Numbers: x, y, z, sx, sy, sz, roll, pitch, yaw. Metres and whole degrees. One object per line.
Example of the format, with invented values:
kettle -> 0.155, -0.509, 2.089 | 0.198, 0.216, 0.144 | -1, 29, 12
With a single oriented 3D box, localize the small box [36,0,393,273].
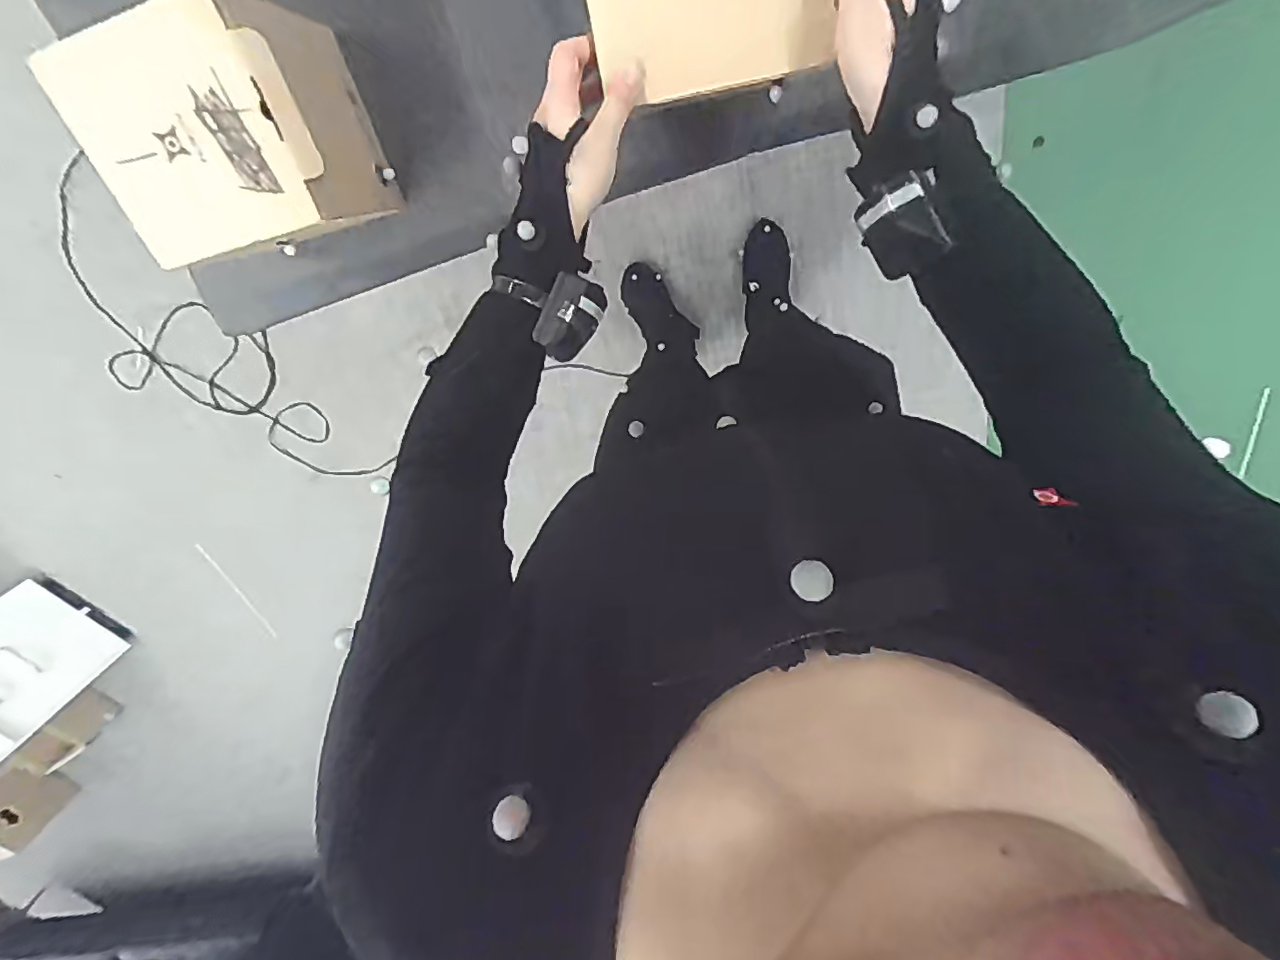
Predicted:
small box -> -0.368, -0.316, 0.516 | 0.179, 0.176, 0.168 | -11, 119, 11

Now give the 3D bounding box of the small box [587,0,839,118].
small box -> 0.052, -0.402, 0.431 | 0.179, 0.176, 0.168 | -6, 122, 9
